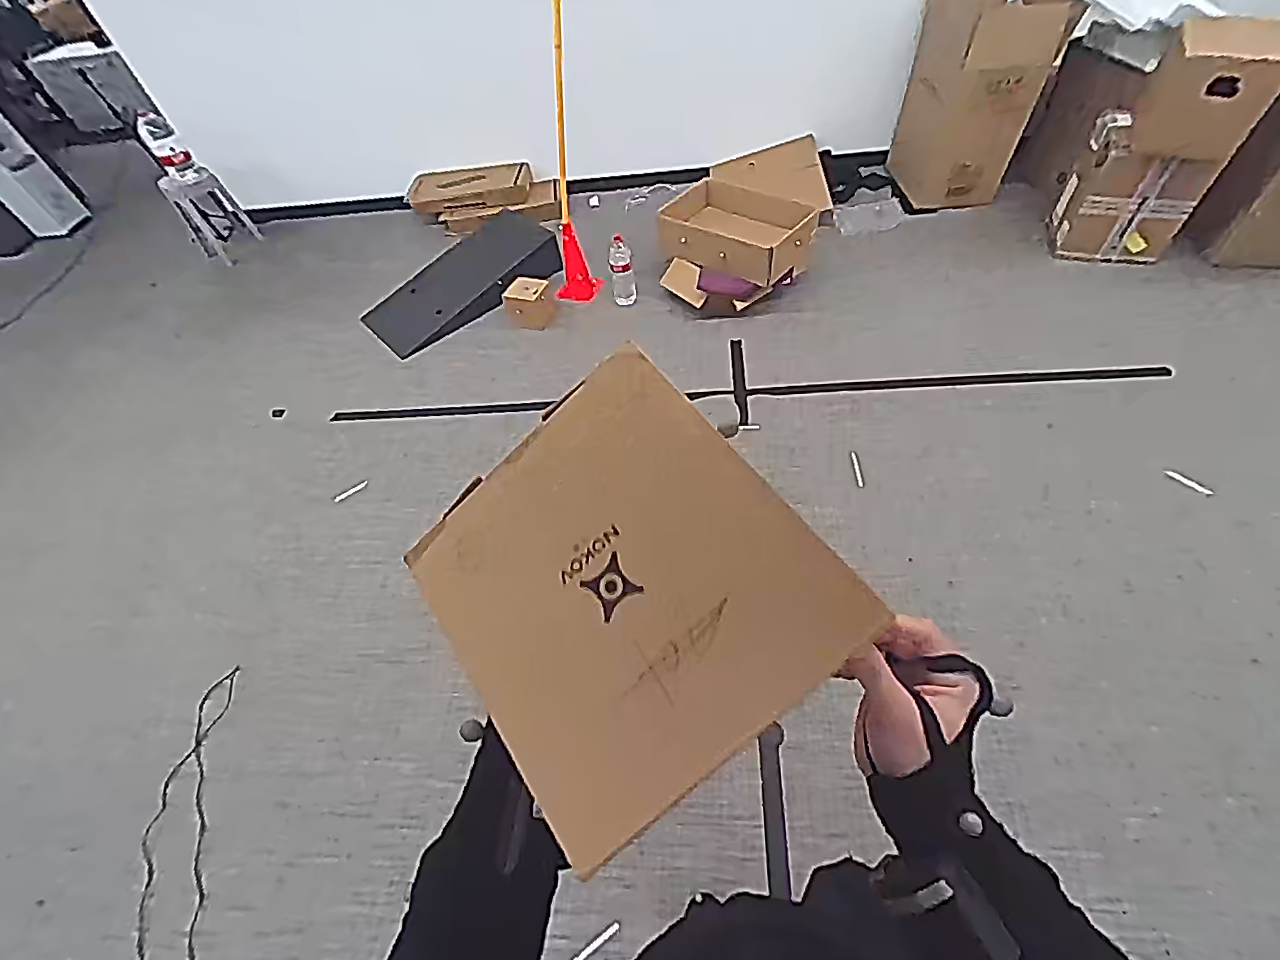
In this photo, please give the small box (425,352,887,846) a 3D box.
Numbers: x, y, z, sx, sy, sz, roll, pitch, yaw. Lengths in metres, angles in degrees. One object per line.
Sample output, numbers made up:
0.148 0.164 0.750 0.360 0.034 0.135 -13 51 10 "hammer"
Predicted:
0.017 0.064 0.328 0.168 0.176 0.179 -43 66 6 "small box"
